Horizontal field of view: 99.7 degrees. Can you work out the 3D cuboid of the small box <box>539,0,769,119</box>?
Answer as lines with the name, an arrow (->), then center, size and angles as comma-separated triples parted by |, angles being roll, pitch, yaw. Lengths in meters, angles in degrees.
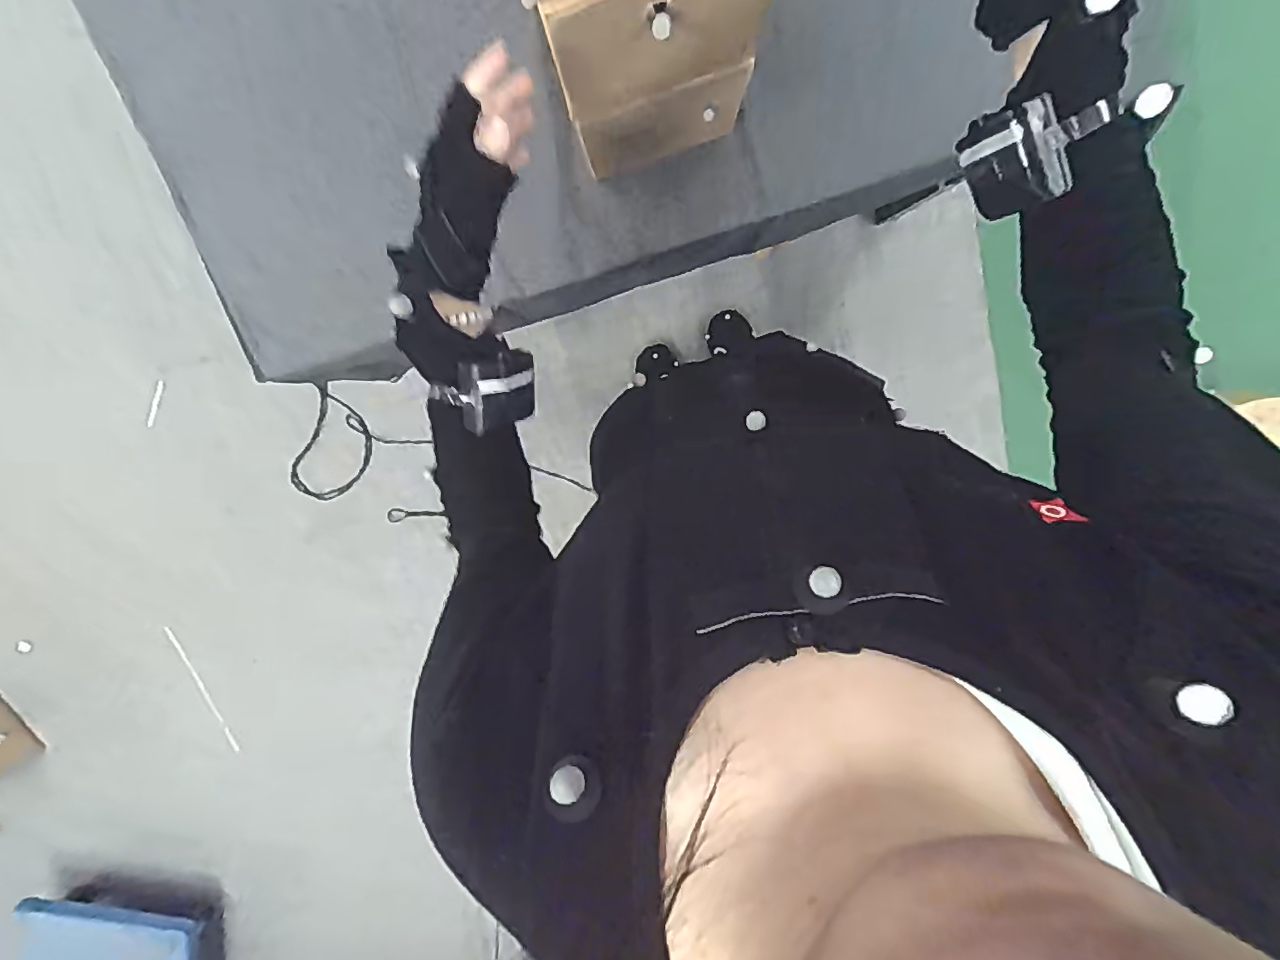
small box -> -0.002, -0.419, 0.410 | 0.179, 0.176, 0.168 | -17, 102, 6
